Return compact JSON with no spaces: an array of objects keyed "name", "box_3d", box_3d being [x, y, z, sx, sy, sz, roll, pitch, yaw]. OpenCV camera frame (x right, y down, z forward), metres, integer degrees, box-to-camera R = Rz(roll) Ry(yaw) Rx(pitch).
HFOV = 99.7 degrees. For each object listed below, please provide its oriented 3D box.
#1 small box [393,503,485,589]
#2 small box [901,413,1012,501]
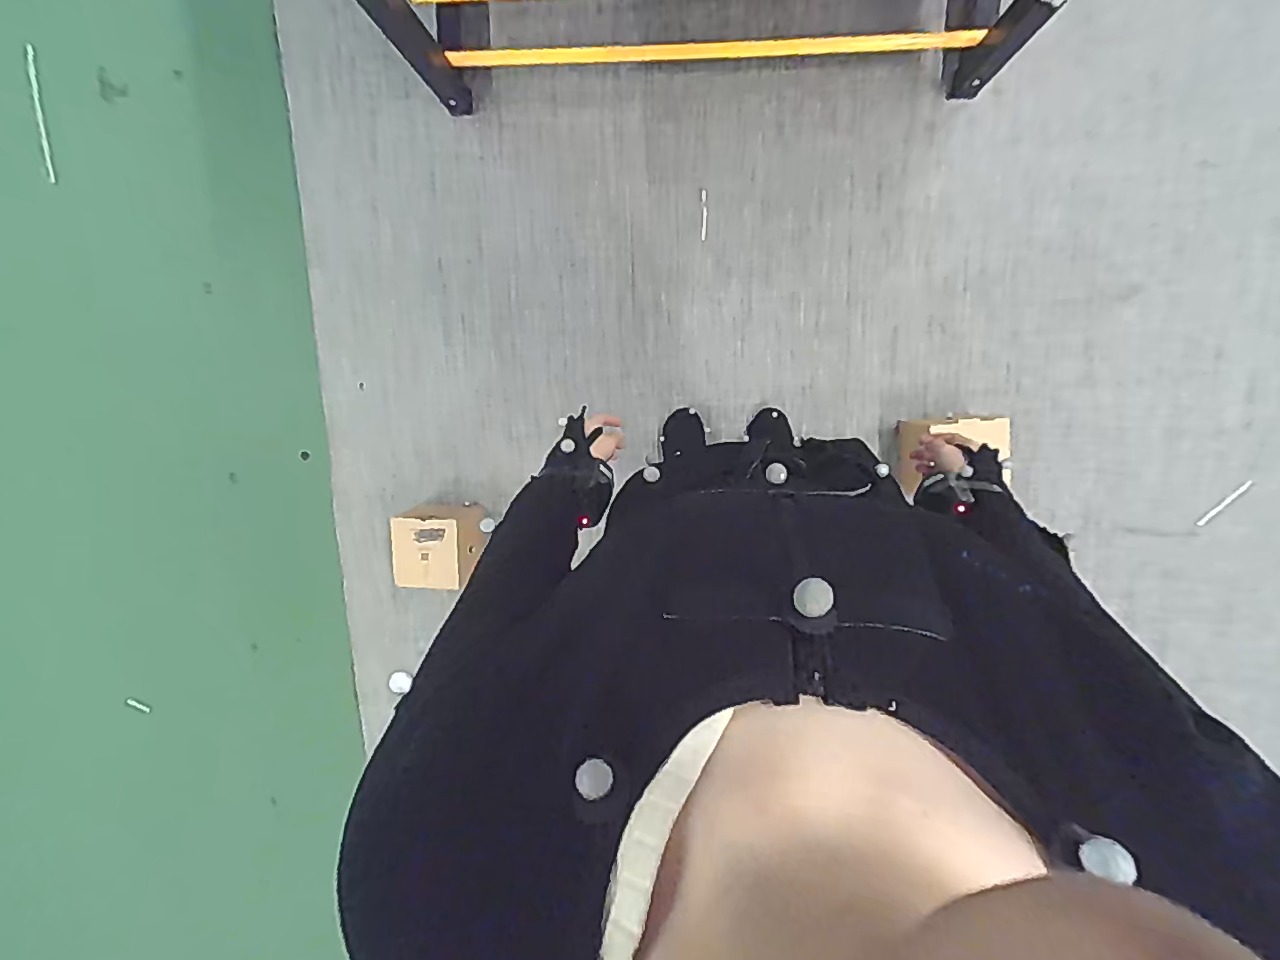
[{"name":"small box","box_3d":[-0.498,0.159,1.360,0.168,0.176,0.179,2,100,5]},{"name":"small box","box_3d":[0.707,-0.056,1.225,0.168,0.176,0.179,-5,98,6]}]
